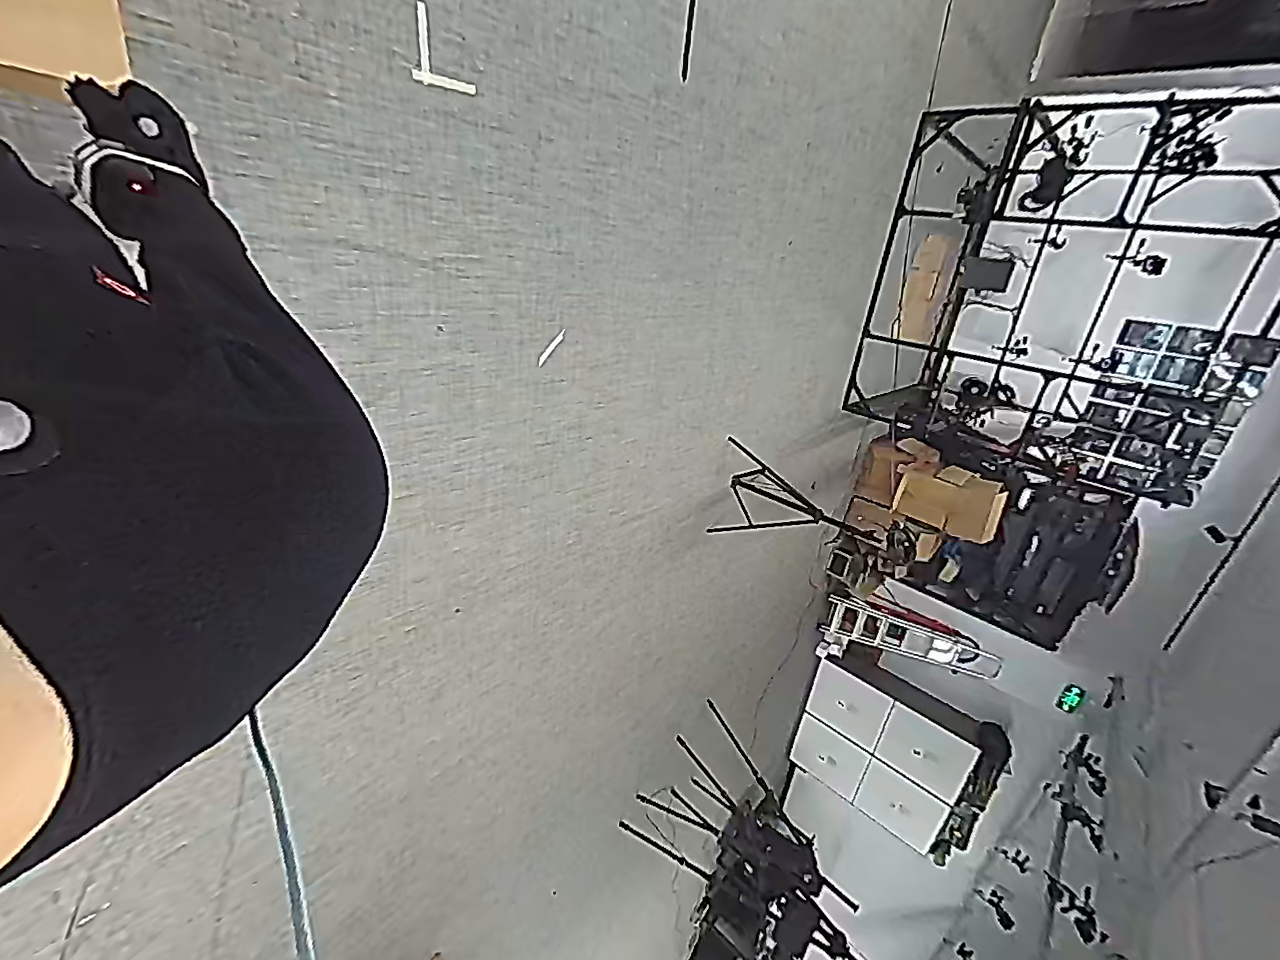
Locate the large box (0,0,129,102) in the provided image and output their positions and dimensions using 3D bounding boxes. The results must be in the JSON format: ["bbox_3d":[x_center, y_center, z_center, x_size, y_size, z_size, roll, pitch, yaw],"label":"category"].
[{"bbox_3d":[-0.984,-0.723,0.687,0.408,0.320,0.320,-19,124,-46],"label":"large box"}]
